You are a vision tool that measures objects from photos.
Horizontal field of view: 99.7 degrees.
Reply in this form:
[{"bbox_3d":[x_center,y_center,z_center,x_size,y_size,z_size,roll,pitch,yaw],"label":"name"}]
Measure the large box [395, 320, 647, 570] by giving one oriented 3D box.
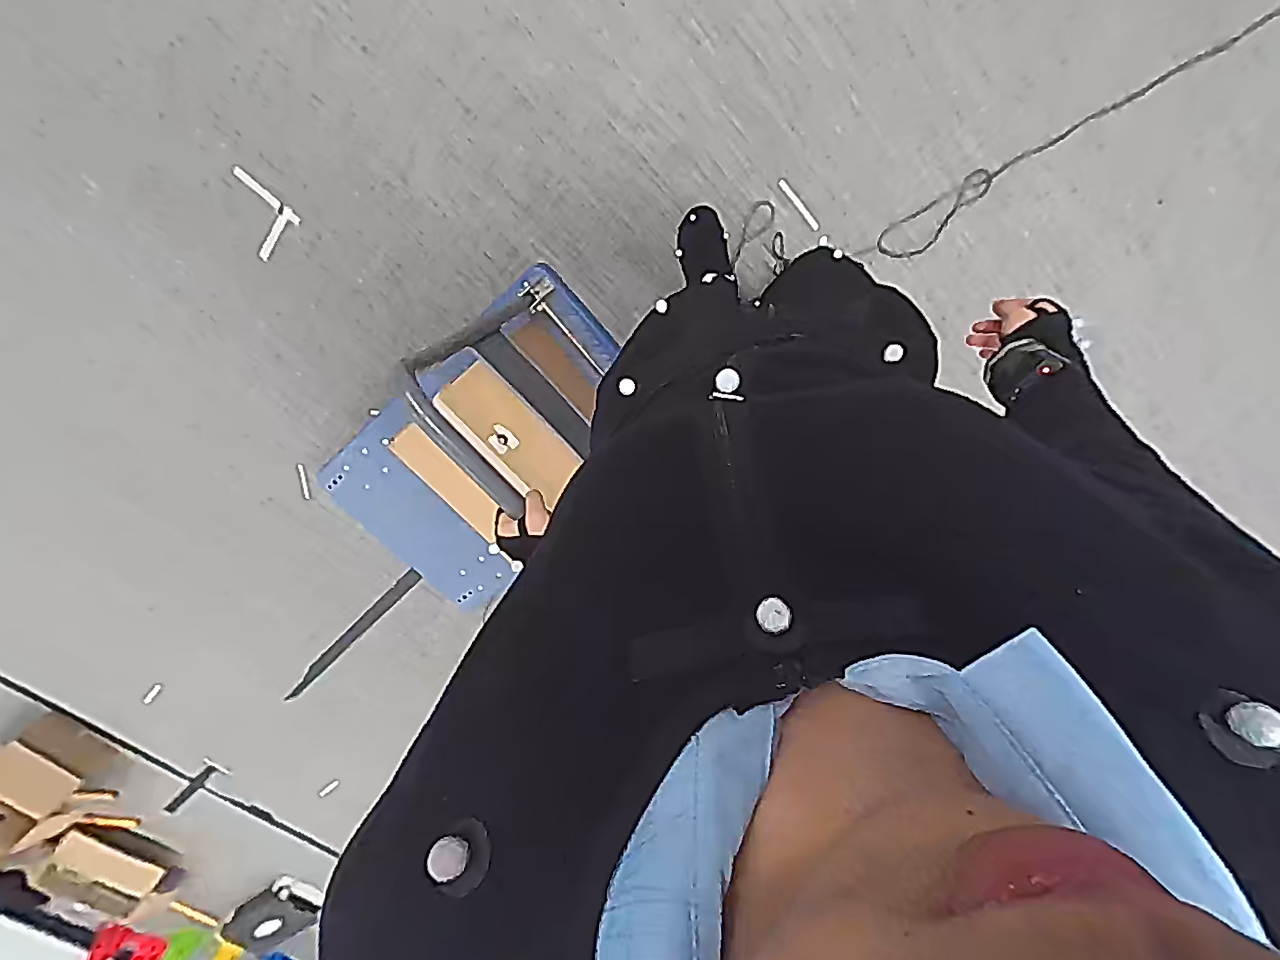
[{"bbox_3d":[-0.234,-0.084,1.214,0.320,0.320,0.408,-35,108,19],"label":"large box"}]
